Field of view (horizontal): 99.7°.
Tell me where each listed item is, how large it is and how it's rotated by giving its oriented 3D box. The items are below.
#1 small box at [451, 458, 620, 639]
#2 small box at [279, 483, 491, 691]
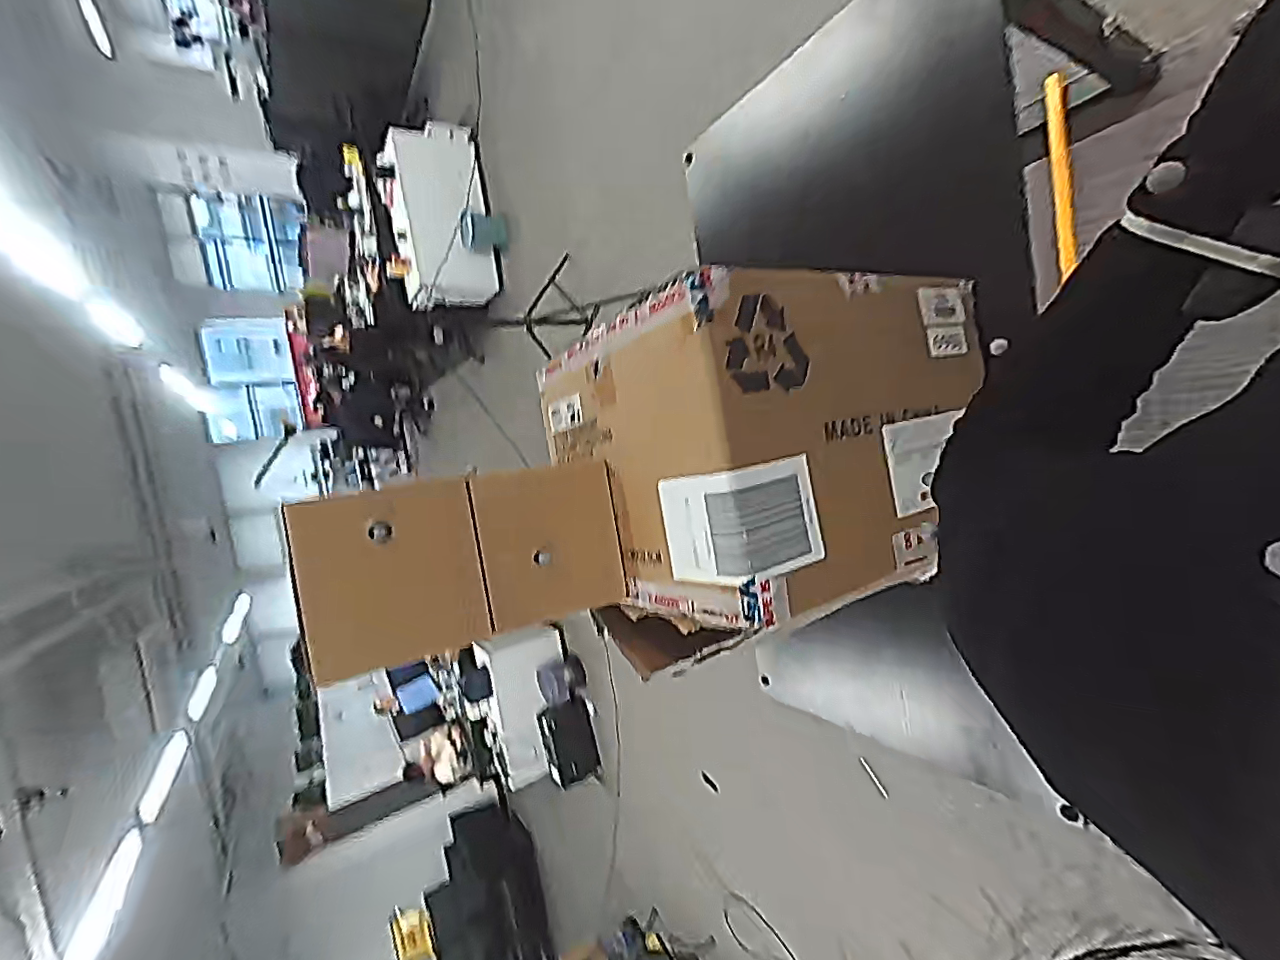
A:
[{"bbox_3d":[-0.140,0.077,0.680,0.168,0.176,0.179,-9,91,60],"label":"small box"},{"bbox_3d":[-0.277,0.102,0.595,0.168,0.176,0.179,-14,87,61],"label":"small box"}]
